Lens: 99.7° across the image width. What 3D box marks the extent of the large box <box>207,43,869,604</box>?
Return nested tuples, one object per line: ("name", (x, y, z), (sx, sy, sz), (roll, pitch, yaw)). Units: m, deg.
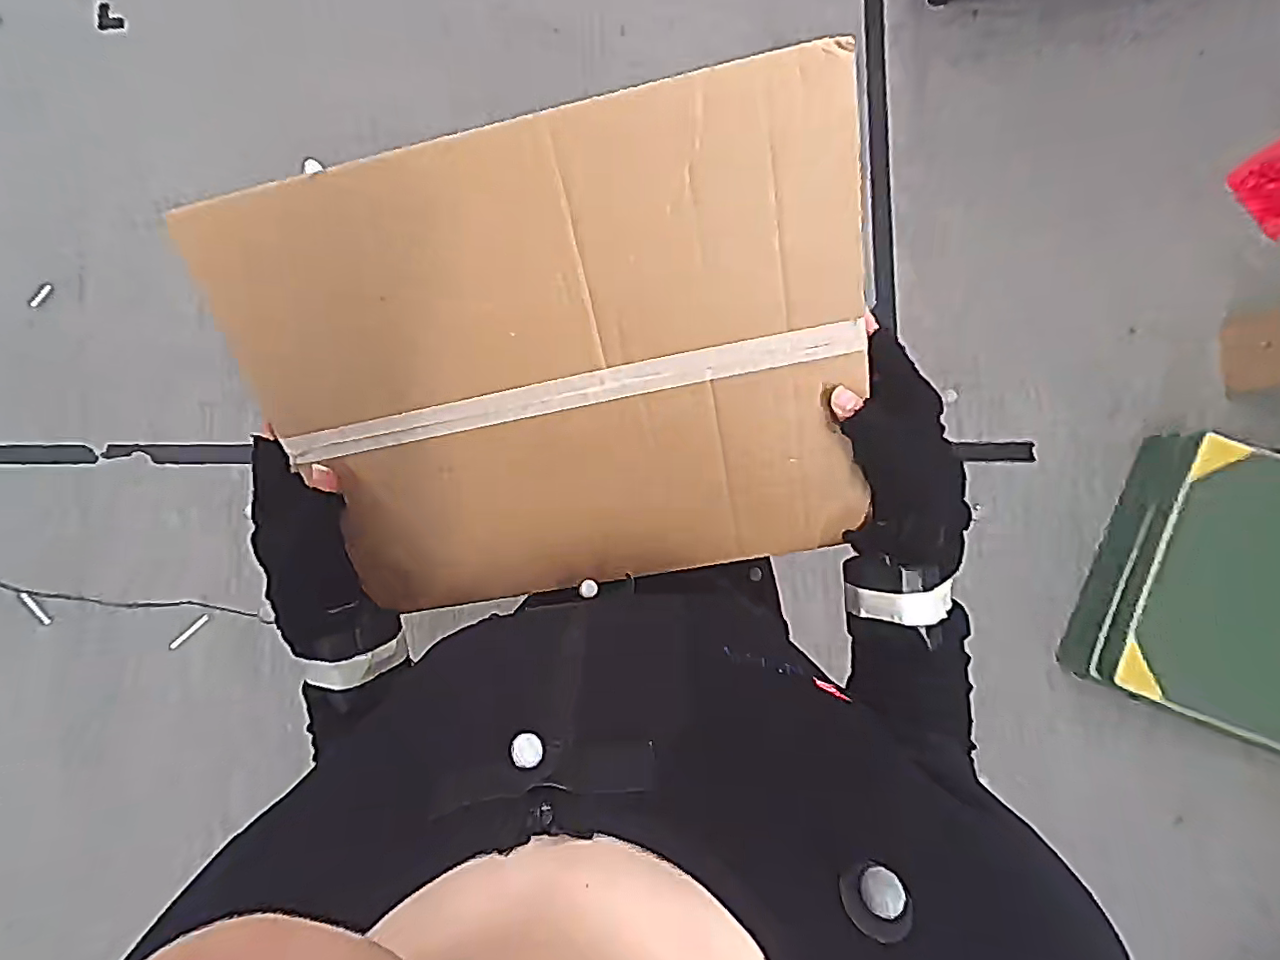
("large box", (-0.047, -0.127, 0.510), (0.408, 0.320, 0.320), (-10, 116, 6))
